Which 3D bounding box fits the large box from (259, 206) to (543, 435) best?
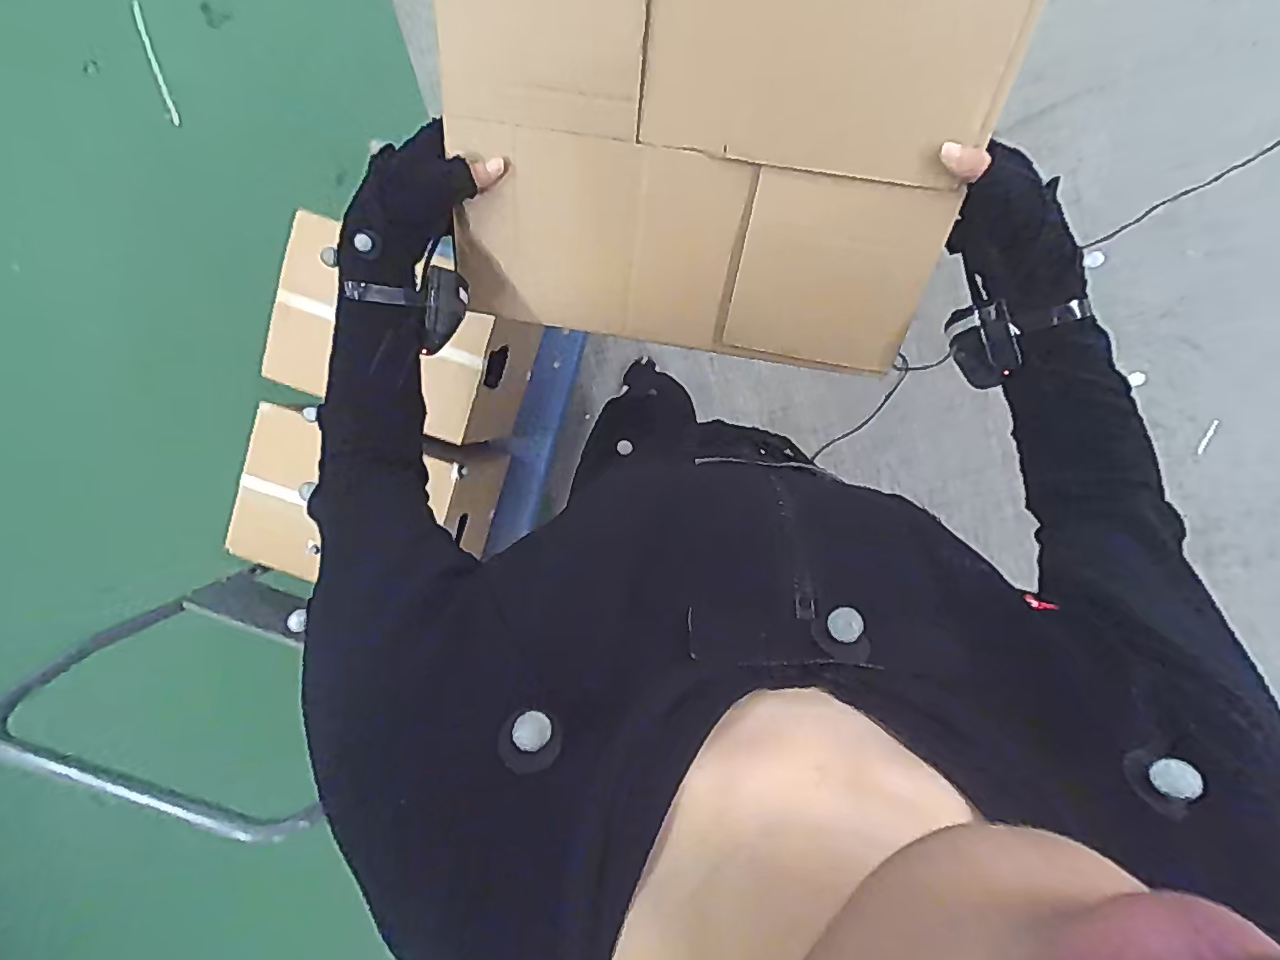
[{"bbox_3d":[-0.464,-0.302,1.124,0.408,0.320,0.320,19,98,0],"label":"large box"}]
